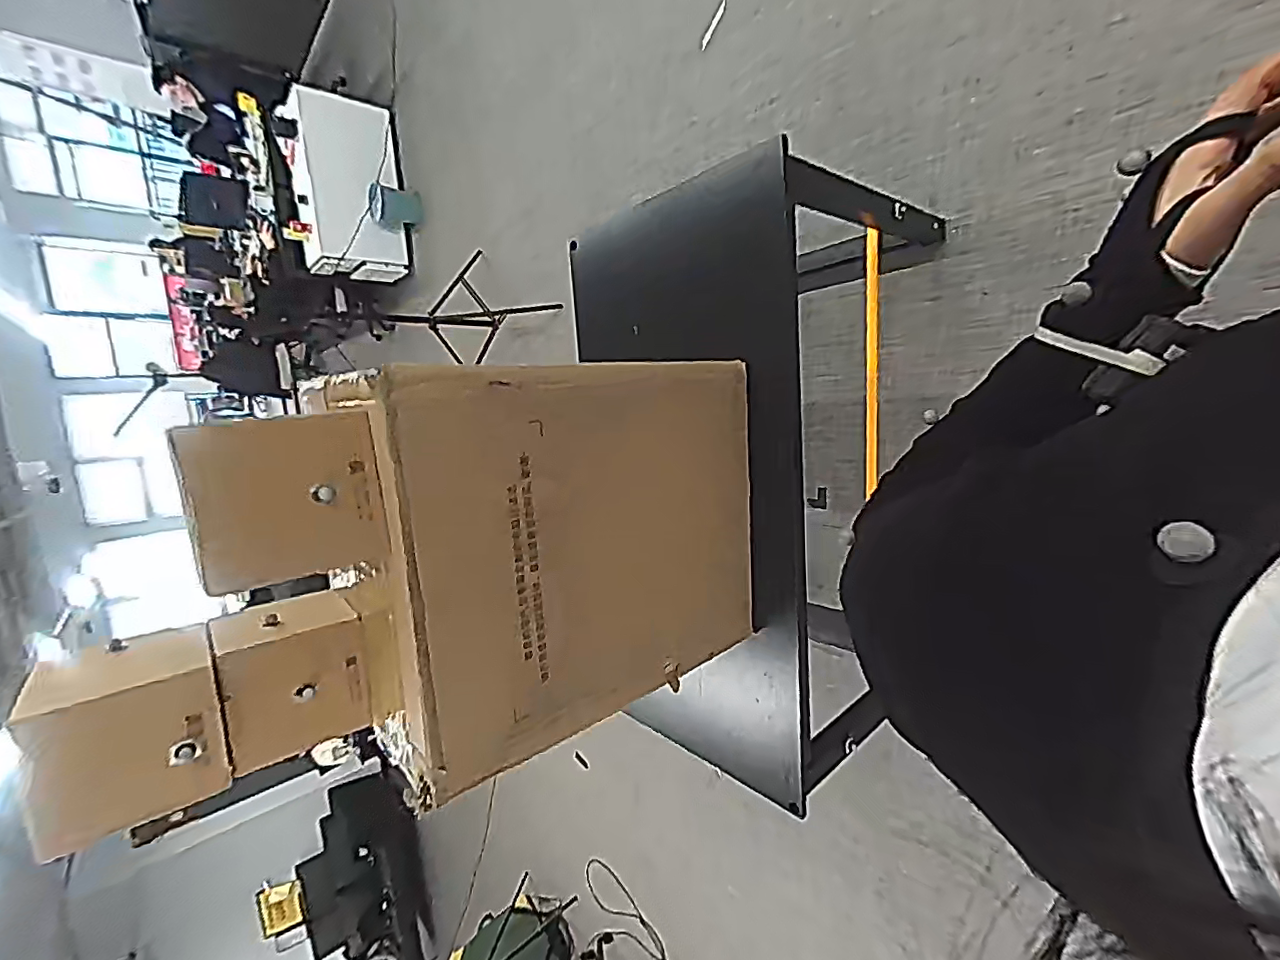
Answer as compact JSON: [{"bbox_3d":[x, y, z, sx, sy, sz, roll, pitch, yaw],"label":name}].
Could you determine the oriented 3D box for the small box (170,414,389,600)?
[{"bbox_3d":[-0.405,0.017,0.612,0.179,0.176,0.168,2,102,48],"label":"small box"}]

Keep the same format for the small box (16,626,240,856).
[{"bbox_3d":[-0.611,0.297,0.667,0.179,0.176,0.168,9,106,48],"label":"small box"}]

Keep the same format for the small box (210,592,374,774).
[{"bbox_3d":[-0.497,0.275,0.784,0.179,0.176,0.168,7,103,48],"label":"small box"}]
